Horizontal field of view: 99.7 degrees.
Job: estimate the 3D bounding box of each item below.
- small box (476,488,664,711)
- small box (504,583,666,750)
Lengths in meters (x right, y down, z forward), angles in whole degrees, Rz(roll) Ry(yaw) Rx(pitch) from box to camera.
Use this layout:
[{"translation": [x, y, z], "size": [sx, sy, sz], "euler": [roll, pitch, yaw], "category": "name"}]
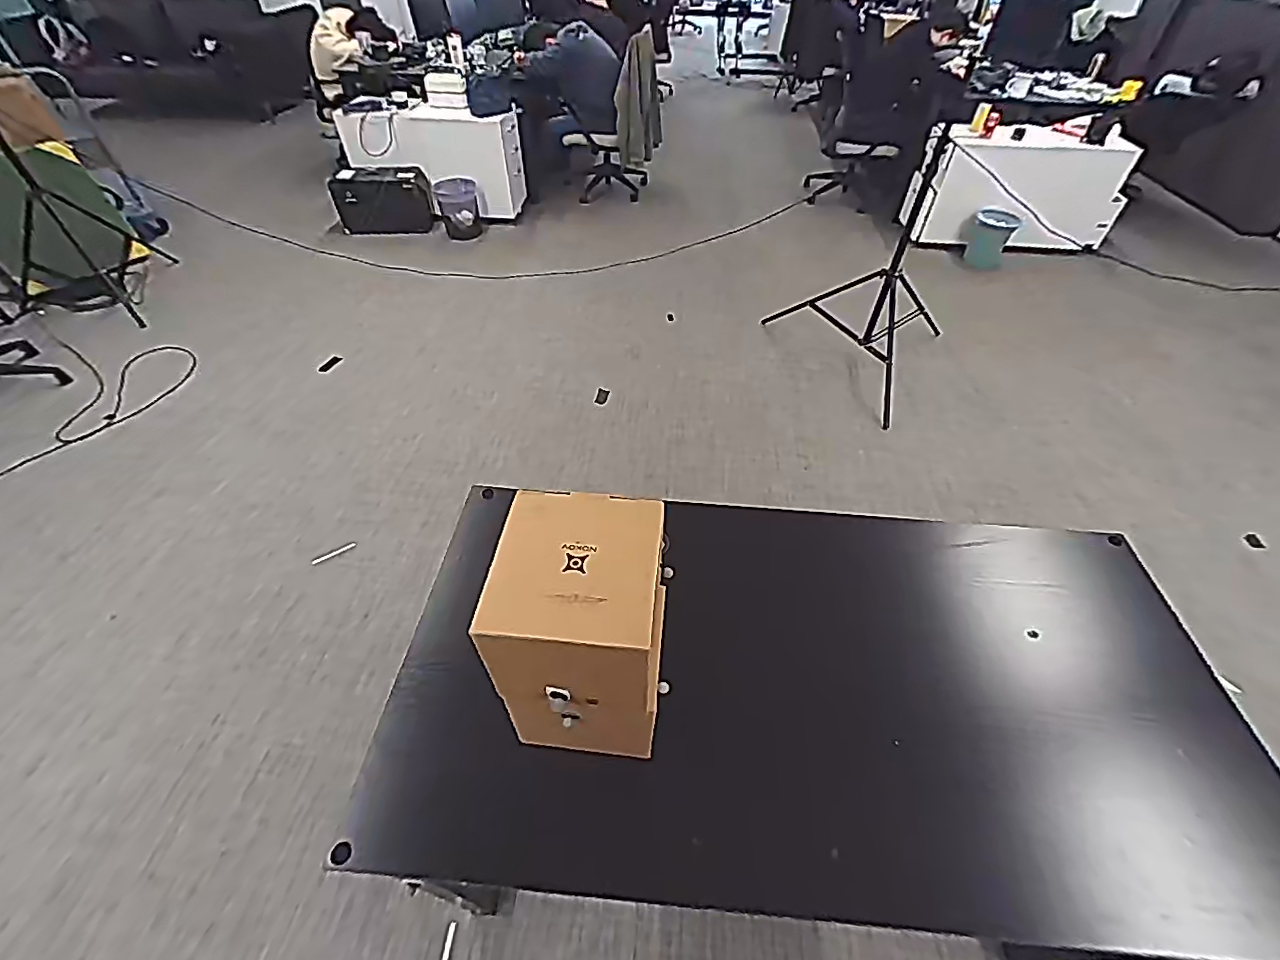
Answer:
[{"translation": [-0.063, 0.132, 0.601], "size": [0.168, 0.176, 0.179], "euler": [3, 48, 4], "category": "small box"}, {"translation": [-0.062, 0.242, 0.721], "size": [0.179, 0.176, 0.168], "euler": [6, 47, 3], "category": "small box"}]
